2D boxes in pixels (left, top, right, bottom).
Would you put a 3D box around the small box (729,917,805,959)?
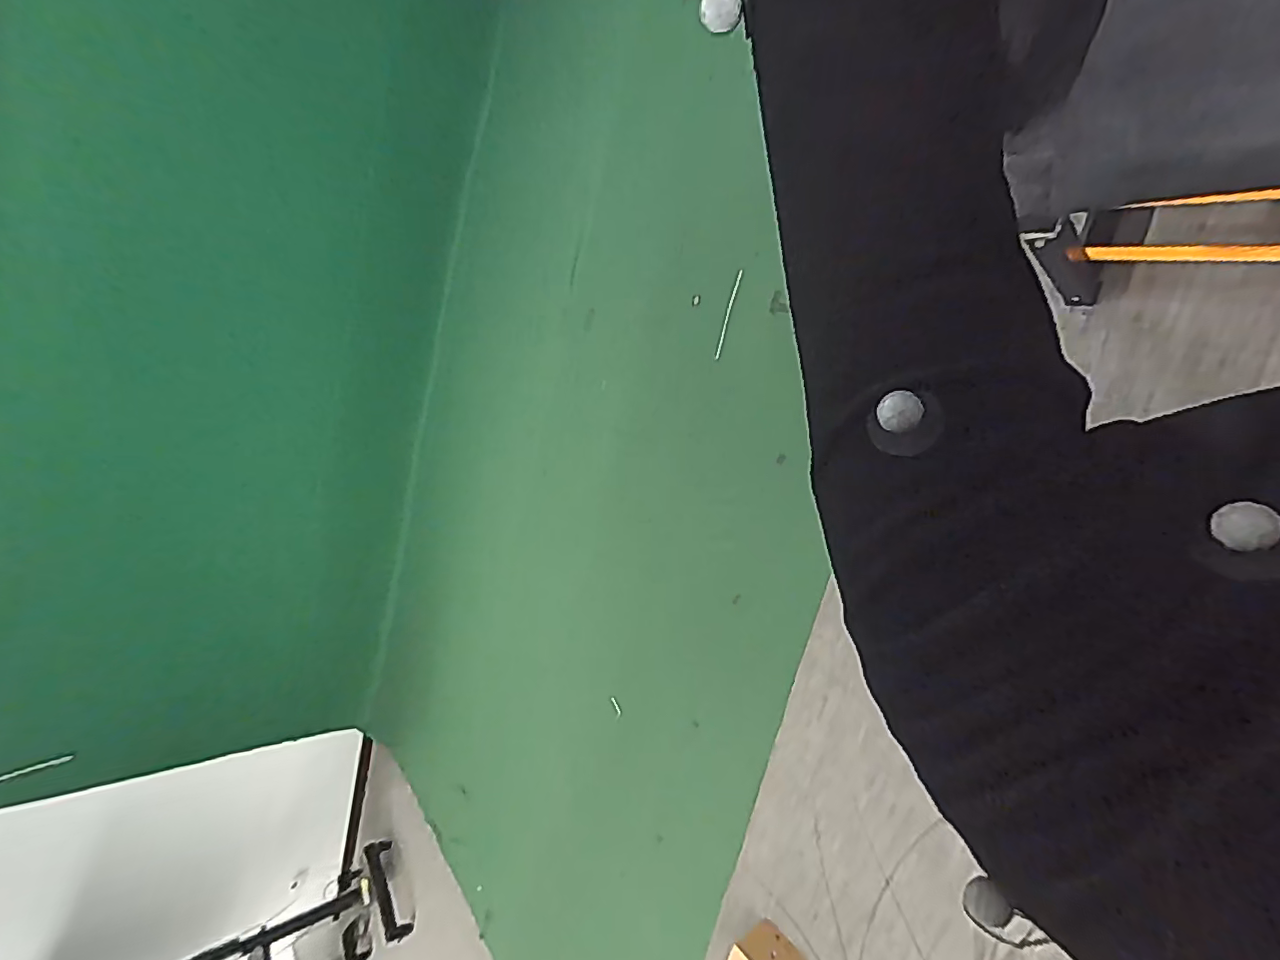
[{"bbox_3d":[0.371,1.457,1.597,0.168,0.176,0.179,25,105,45],"label":"small box"}]
